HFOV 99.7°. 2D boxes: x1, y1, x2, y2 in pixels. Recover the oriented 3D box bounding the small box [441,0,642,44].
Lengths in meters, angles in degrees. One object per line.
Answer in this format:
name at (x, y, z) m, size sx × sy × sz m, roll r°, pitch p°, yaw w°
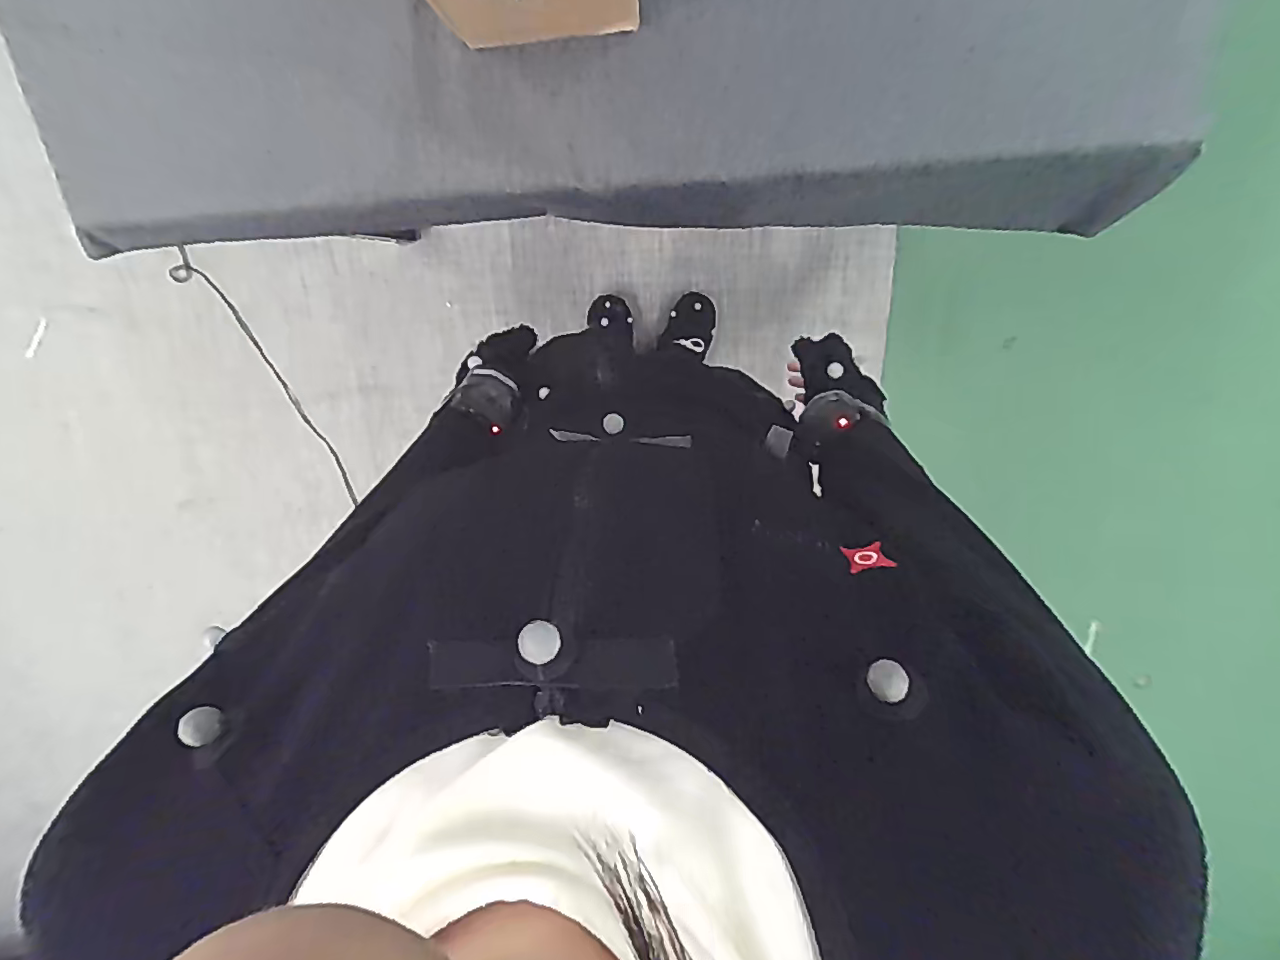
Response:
small box at (-0.094, -0.487, 0.437) m, size 0.179 × 0.176 × 0.168 m, roll -2°, pitch 111°, yaw 5°
